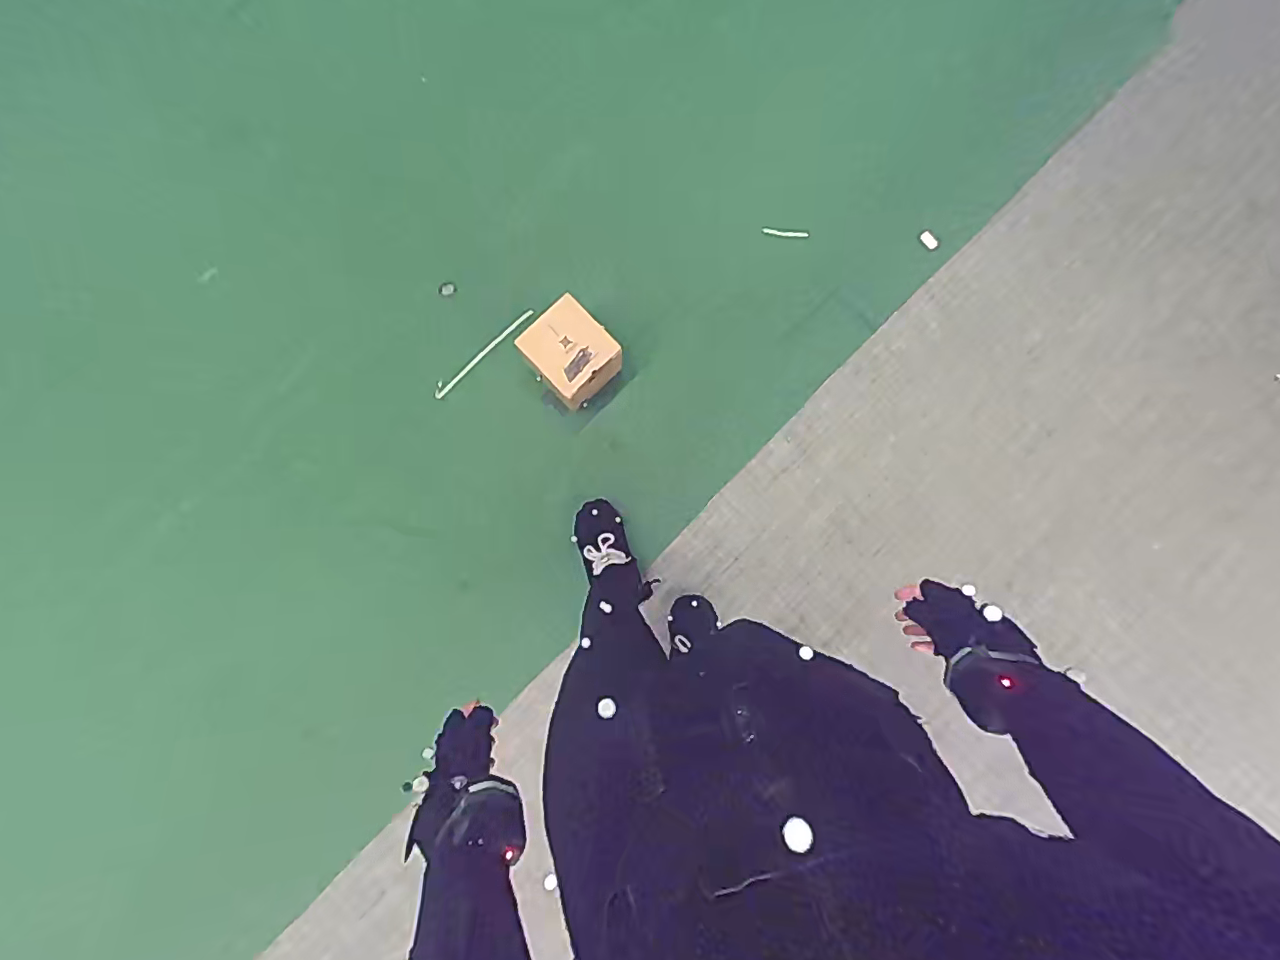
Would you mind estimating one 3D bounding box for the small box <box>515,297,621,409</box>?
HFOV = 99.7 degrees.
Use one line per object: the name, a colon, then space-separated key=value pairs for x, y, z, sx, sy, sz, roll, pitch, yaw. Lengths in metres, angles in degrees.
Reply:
small box: x=-0.159 y=-0.283 z=1.258 sx=0.168 sy=0.176 sz=0.179 roll=-44 pitch=89 yaw=-4
